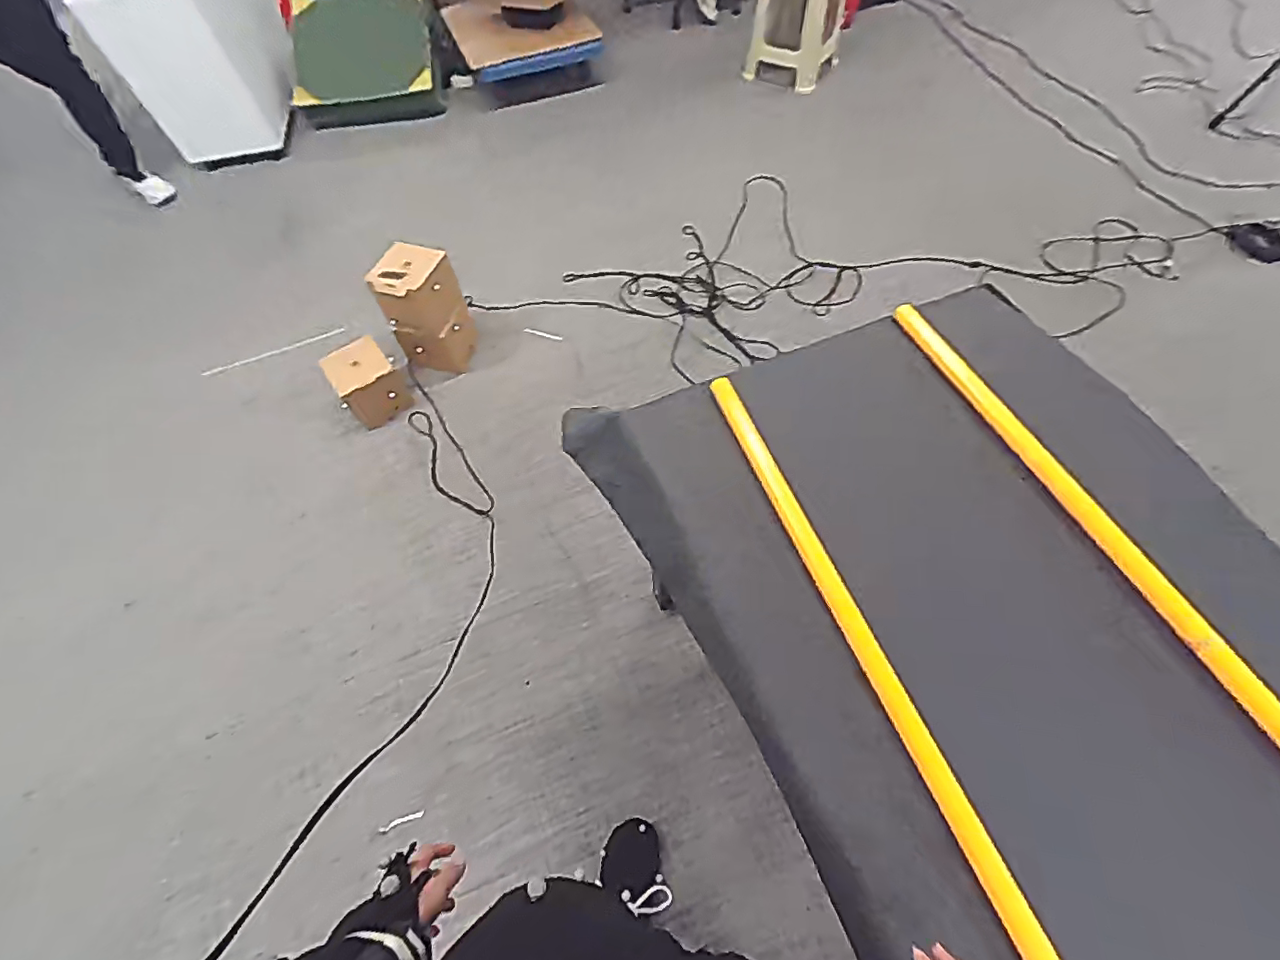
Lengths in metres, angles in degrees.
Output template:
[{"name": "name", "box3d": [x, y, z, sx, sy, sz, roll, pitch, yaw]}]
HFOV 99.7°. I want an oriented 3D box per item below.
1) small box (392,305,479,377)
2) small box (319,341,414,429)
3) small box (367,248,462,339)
[{"name": "small box", "box3d": [-0.642, -0.448, 1.719, 0.179, 0.176, 0.168, 10, 61, 8]}, {"name": "small box", "box3d": [-0.818, -0.278, 1.633, 0.168, 0.176, 0.179, -35, 64, -17]}, {"name": "small box", "box3d": [-0.649, -0.541, 1.582, 0.168, 0.176, 0.179, 15, 61, 10]}]
